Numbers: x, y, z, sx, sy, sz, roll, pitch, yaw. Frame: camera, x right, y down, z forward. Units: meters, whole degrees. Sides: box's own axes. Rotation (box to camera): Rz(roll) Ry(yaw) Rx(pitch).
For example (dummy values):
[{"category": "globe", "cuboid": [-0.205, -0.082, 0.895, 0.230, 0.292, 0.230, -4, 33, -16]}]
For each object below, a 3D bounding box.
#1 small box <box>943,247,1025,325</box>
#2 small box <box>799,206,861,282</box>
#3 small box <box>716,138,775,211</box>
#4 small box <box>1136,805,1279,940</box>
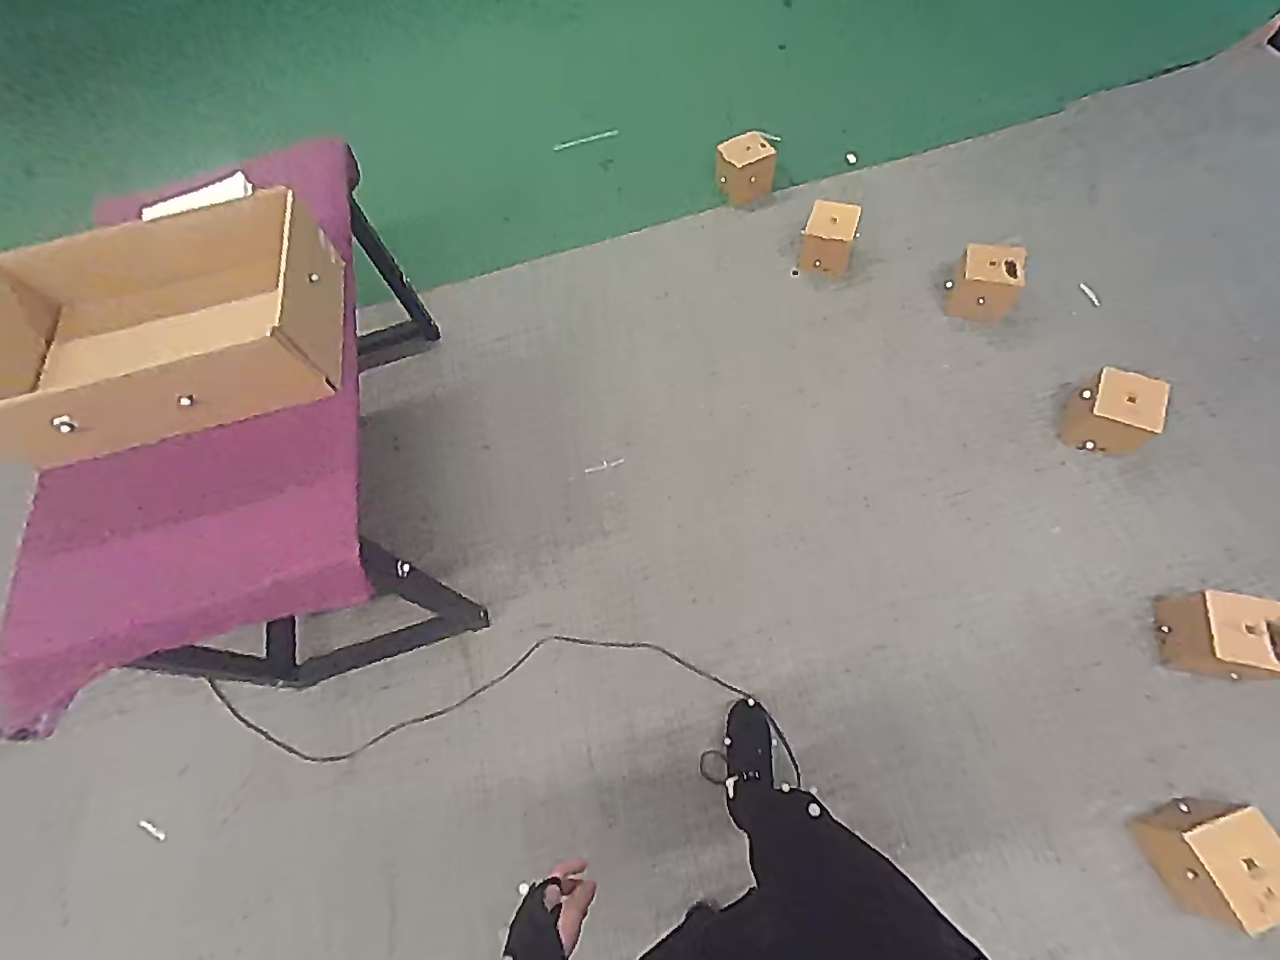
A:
[{"category": "small box", "cuboid": [1.148, -0.644, 1.808, 0.179, 0.176, 0.168, 13, 67, 13]}, {"category": "small box", "cuboid": [0.686, -0.857, 1.967, 0.168, 0.176, 0.179, 16, 69, 14]}, {"category": "small box", "cuboid": [0.420, -1.222, 2.172, 0.179, 0.176, 0.168, -26, 64, -6]}, {"category": "small box", "cuboid": [1.201, 0.792, 1.115, 0.168, 0.176, 0.179, -20, 64, -2]}]
